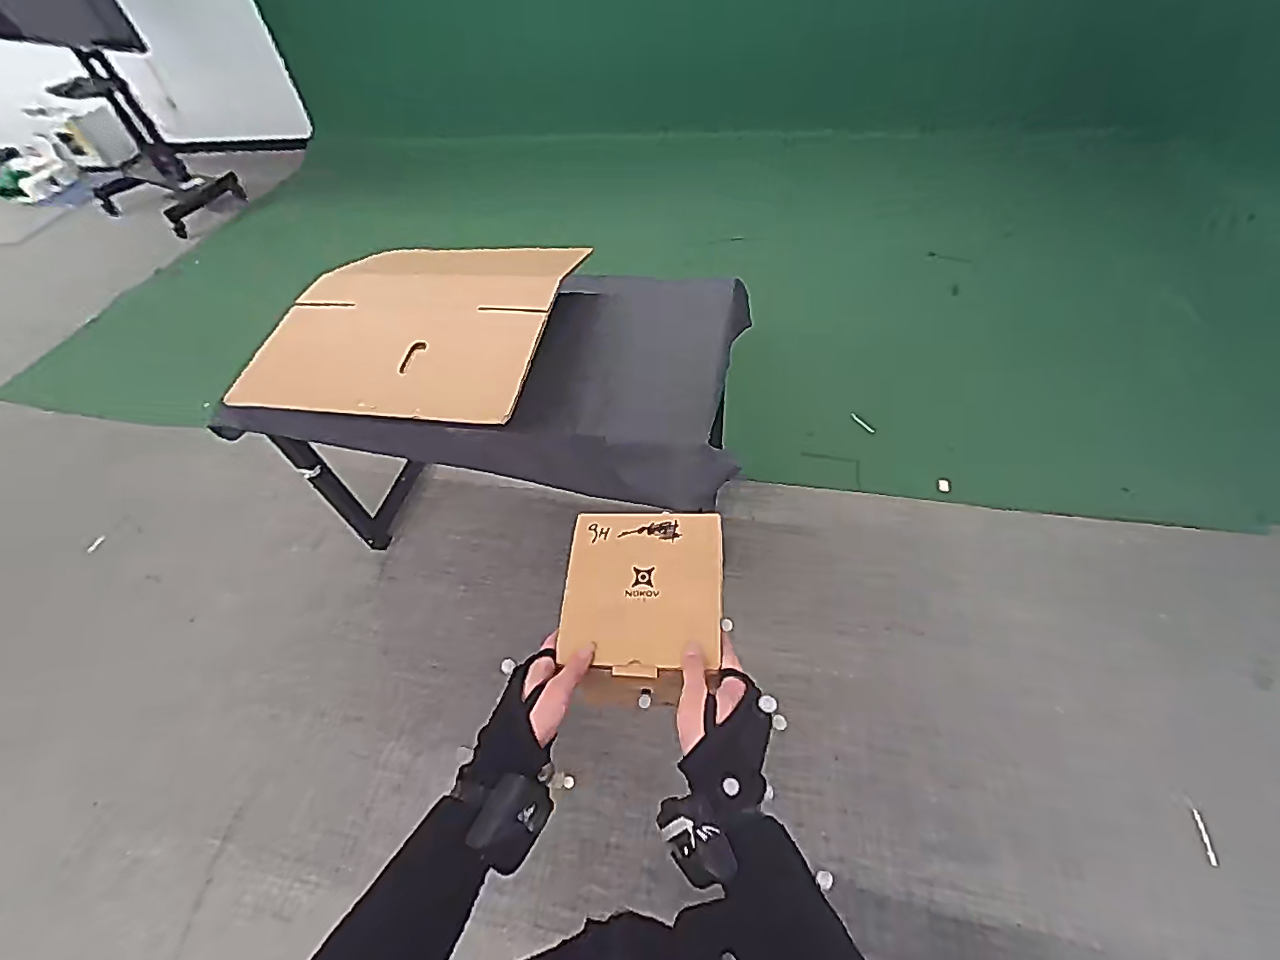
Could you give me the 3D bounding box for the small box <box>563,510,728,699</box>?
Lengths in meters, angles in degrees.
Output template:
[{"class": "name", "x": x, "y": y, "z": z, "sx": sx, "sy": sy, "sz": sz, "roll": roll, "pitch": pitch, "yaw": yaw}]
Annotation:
[{"class": "small box", "x": 0.017, "y": 0.154, "z": 0.641, "sx": 0.168, "sy": 0.176, "sz": 0.179, "roll": -3, "pitch": 55, "yaw": 8}]
